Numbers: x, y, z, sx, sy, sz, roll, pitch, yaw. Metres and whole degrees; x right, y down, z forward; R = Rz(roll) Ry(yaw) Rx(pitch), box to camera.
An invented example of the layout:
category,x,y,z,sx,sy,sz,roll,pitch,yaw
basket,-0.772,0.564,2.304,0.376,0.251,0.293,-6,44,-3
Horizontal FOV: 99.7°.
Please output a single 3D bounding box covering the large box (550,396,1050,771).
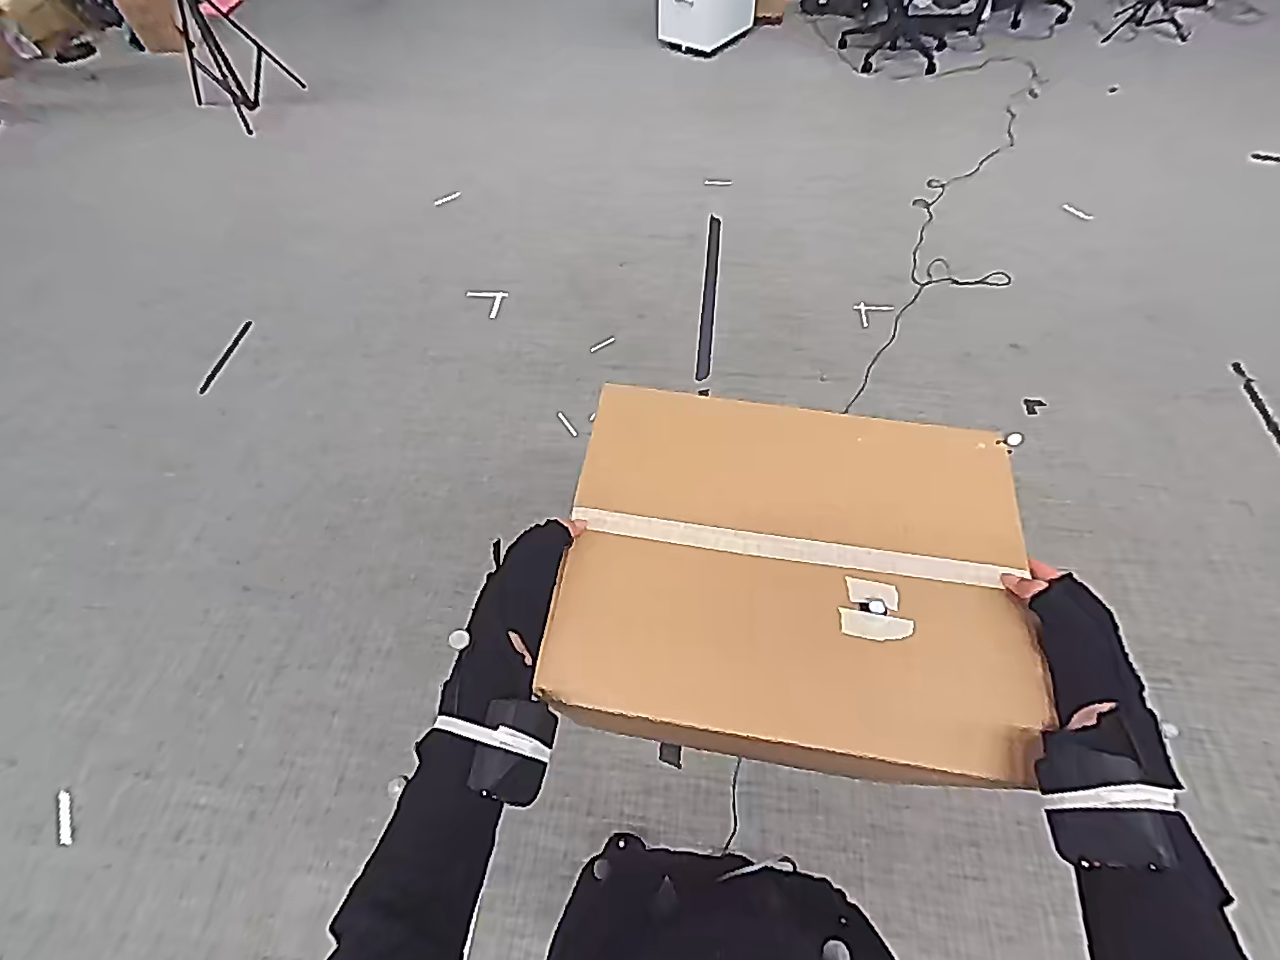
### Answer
category,x,y,z,sx,sy,sz,roll,pitch,yaw
large box,0.139,0.135,0.627,0.408,0.320,0.320,8,63,4
